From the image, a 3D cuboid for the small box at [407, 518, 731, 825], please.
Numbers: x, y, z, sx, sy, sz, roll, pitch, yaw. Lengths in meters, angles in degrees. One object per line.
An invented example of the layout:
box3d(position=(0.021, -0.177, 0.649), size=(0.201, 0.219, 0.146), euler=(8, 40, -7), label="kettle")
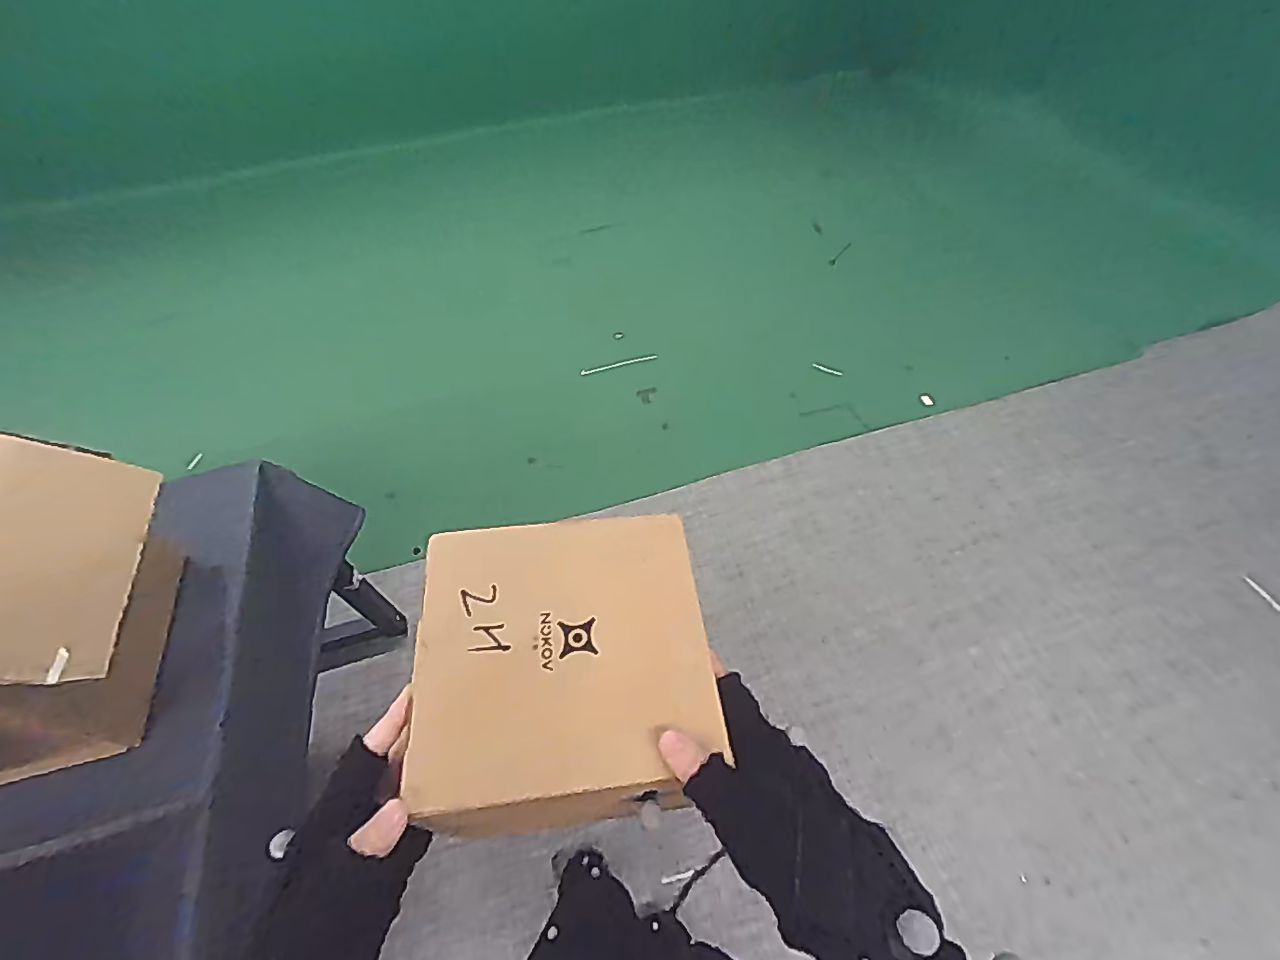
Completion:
box3d(position=(-0.049, 0.144, 0.398), size=(0.179, 0.176, 0.168), euler=(-3, 53, -7), label="small box")
